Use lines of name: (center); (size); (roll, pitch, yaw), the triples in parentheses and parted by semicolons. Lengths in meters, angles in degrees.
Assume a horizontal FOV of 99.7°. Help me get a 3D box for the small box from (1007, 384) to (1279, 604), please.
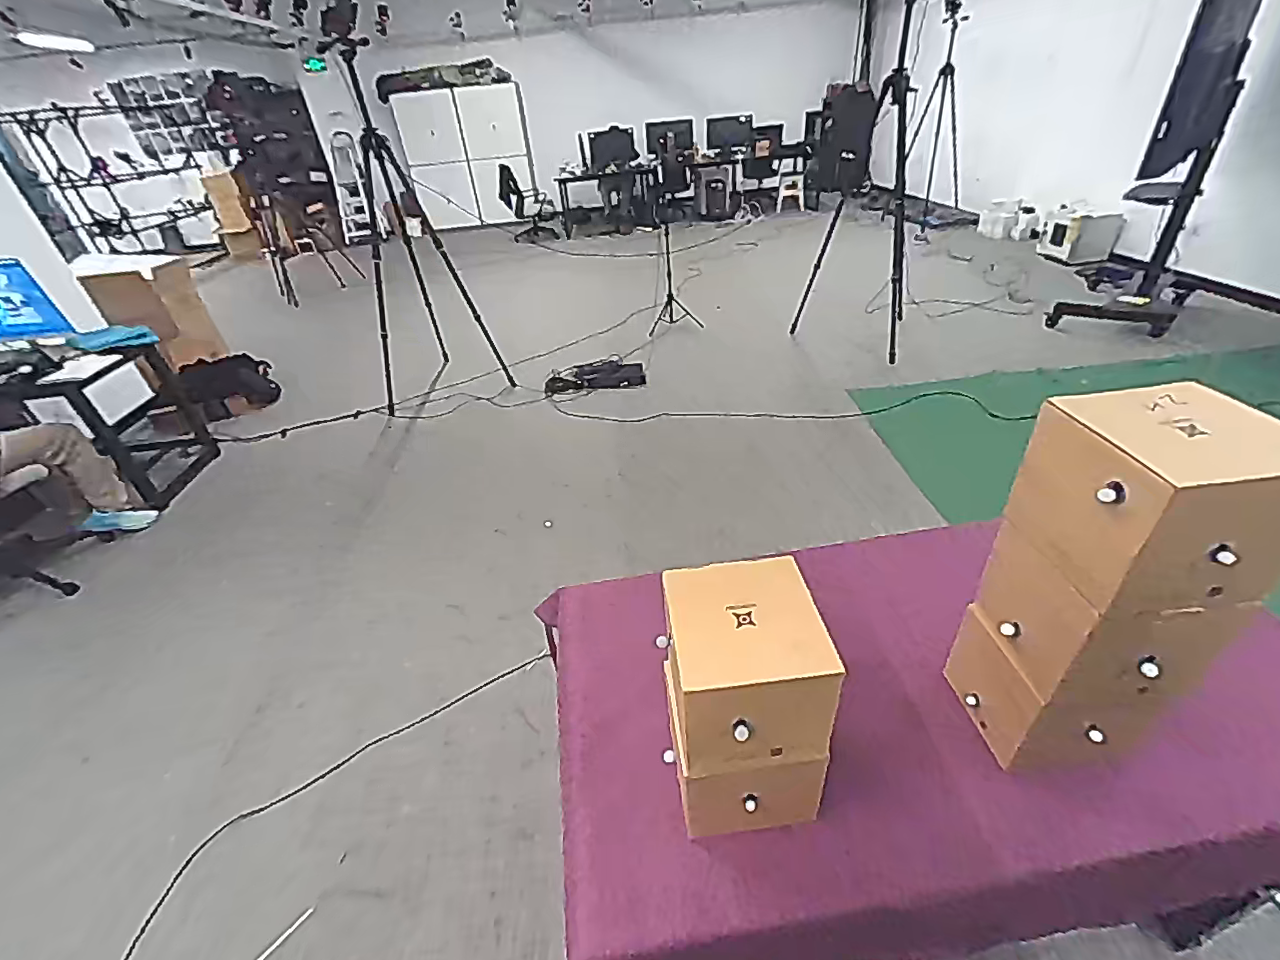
small box: (0.542, 0.018, 0.579); (0.168, 0.176, 0.179); (-6, 35, 1)

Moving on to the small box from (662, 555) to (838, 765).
small box: (0.121, 0.218, 0.651); (0.168, 0.176, 0.179); (-7, 34, -1)

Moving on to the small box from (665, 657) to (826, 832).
small box: (0.133, 0.352, 0.742); (0.179, 0.176, 0.168); (-8, 35, -1)

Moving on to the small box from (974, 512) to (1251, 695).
small box: (0.560, 0.151, 0.676); (0.168, 0.176, 0.179); (-5, 36, 2)
